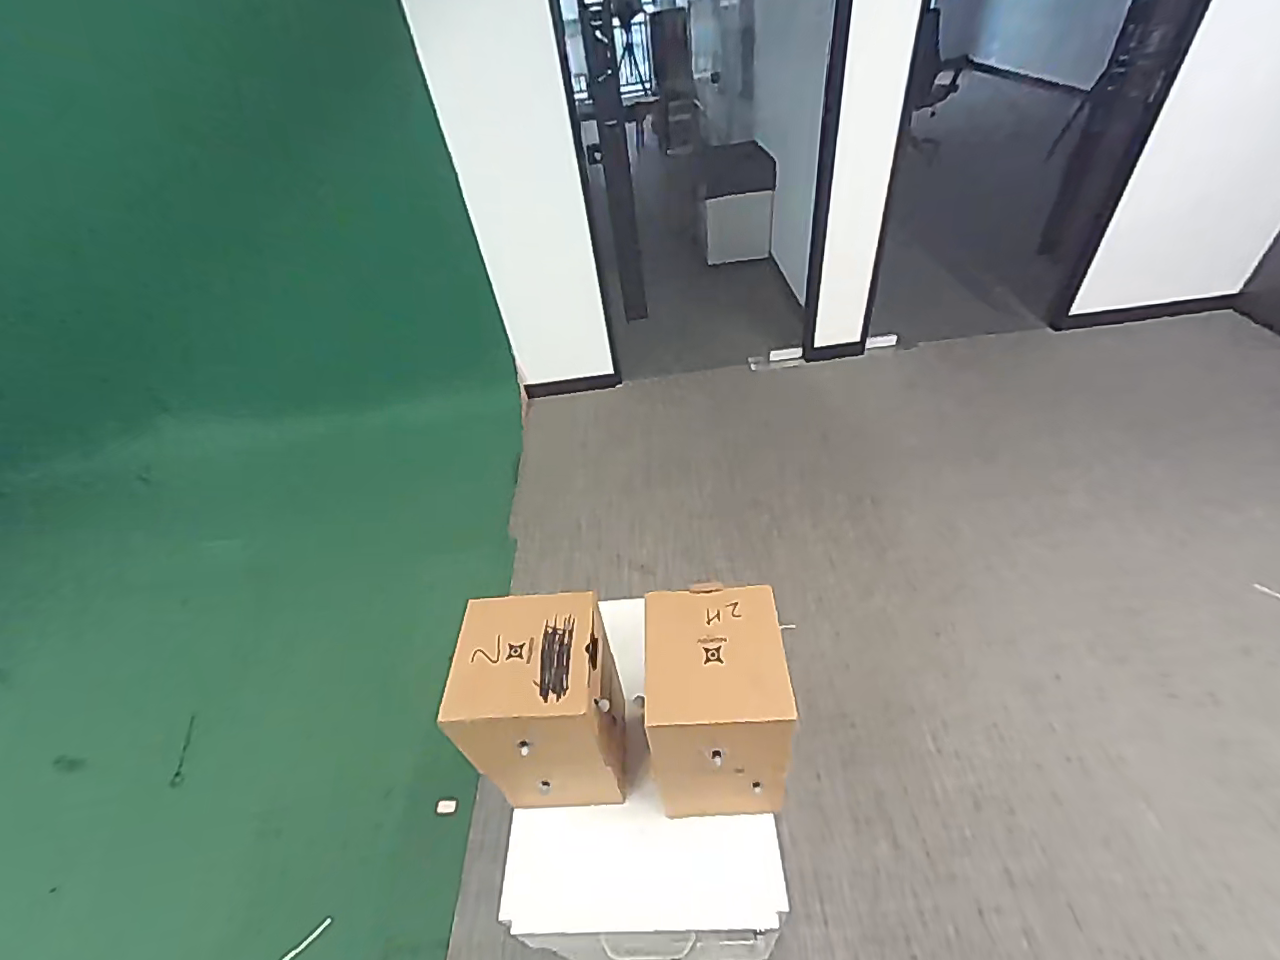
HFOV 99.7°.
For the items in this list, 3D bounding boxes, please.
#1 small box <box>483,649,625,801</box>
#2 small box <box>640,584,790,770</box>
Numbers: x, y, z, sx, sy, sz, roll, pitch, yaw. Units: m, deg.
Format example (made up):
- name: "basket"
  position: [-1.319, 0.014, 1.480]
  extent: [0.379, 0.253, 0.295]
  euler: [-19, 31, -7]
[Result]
- name: "small box"
  position: [-0.121, 0.382, 0.838]
  extent: [0.179, 0.176, 0.168]
  euler: [-4, 44, 3]
- name: "small box"
  position: [0.092, 0.257, 0.695]
  extent: [0.168, 0.176, 0.179]
  euler: [-4, 43, 5]
